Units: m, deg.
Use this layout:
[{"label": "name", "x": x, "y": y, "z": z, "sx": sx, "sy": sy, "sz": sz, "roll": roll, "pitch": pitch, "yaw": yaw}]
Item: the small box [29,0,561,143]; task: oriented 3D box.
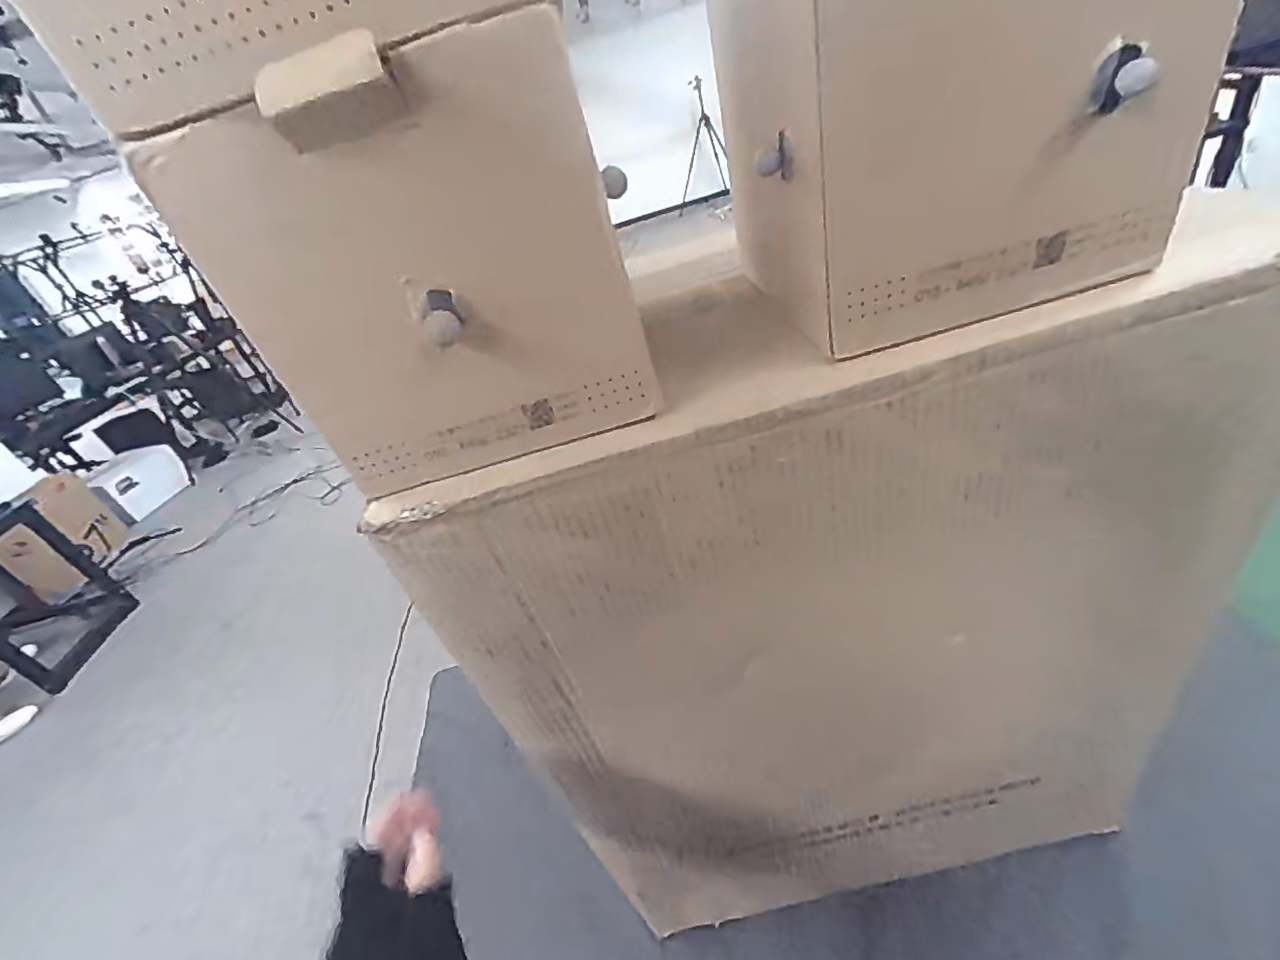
[{"label": "small box", "x": -0.139, "y": -0.257, "z": 0.214, "sx": 0.179, "sy": 0.176, "sz": 0.168, "roll": -16, "pitch": 35, "yaw": 5}]

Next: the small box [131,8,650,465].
[{"label": "small box", "x": -0.097, "y": -0.125, "z": 0.305, "sx": 0.168, "sy": 0.176, "sz": 0.179, "roll": -15, "pitch": 36, "yaw": 4}]

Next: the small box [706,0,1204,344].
[{"label": "small box", "x": 0.143, "y": -0.187, "z": 0.291, "sx": 0.168, "sy": 0.176, "sz": 0.179, "roll": -14, "pitch": 34, "yaw": 2}]
